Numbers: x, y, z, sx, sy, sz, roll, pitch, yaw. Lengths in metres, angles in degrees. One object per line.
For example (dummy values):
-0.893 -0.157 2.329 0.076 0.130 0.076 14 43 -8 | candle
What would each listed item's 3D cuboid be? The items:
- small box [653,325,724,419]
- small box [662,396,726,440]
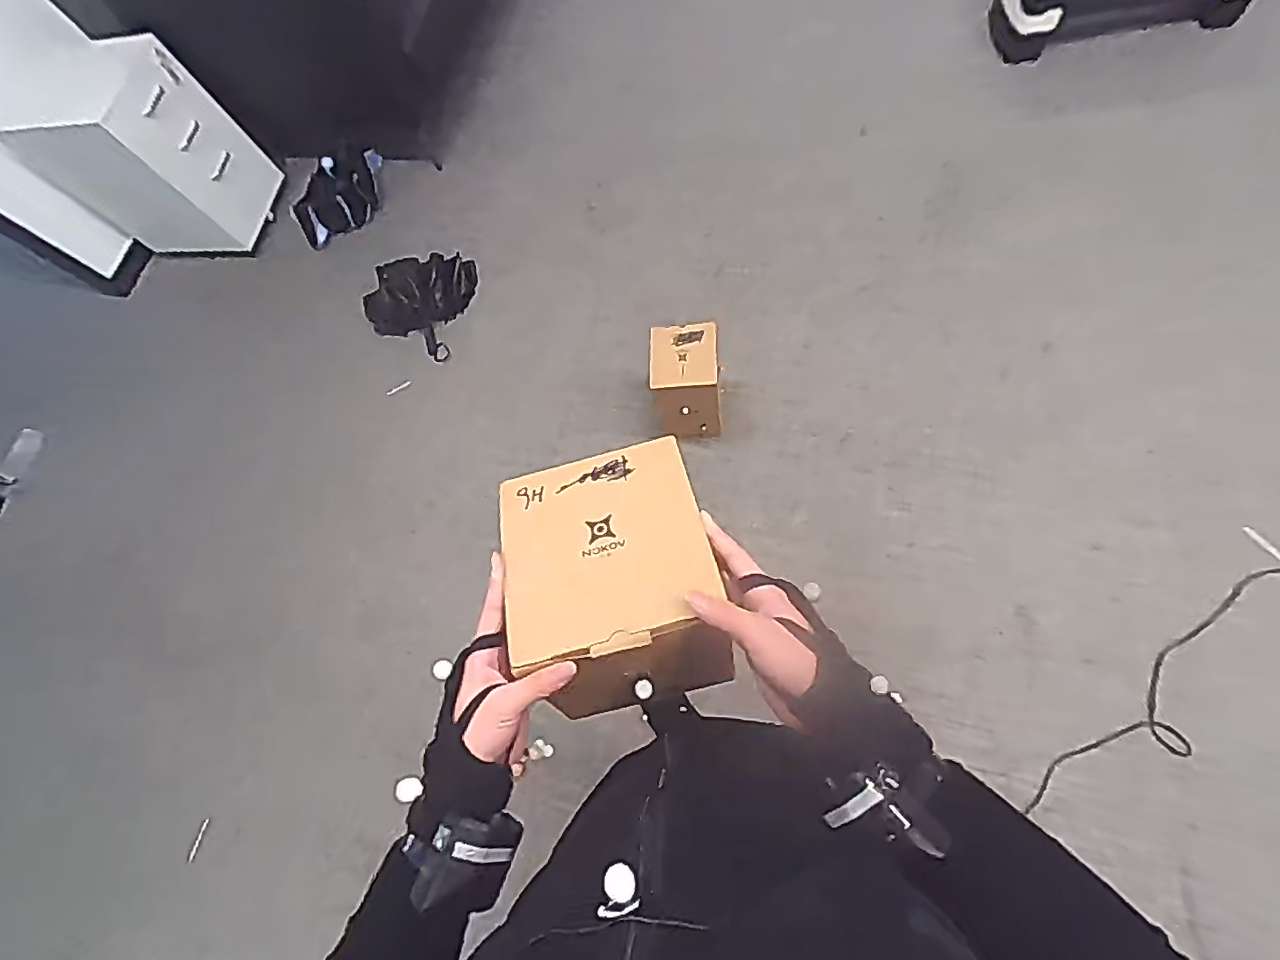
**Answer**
0.128 -0.273 1.392 0.168 0.176 0.179 -3 72 11 | small box
0.156 -0.222 1.546 0.168 0.176 0.179 -4 69 11 | small box
